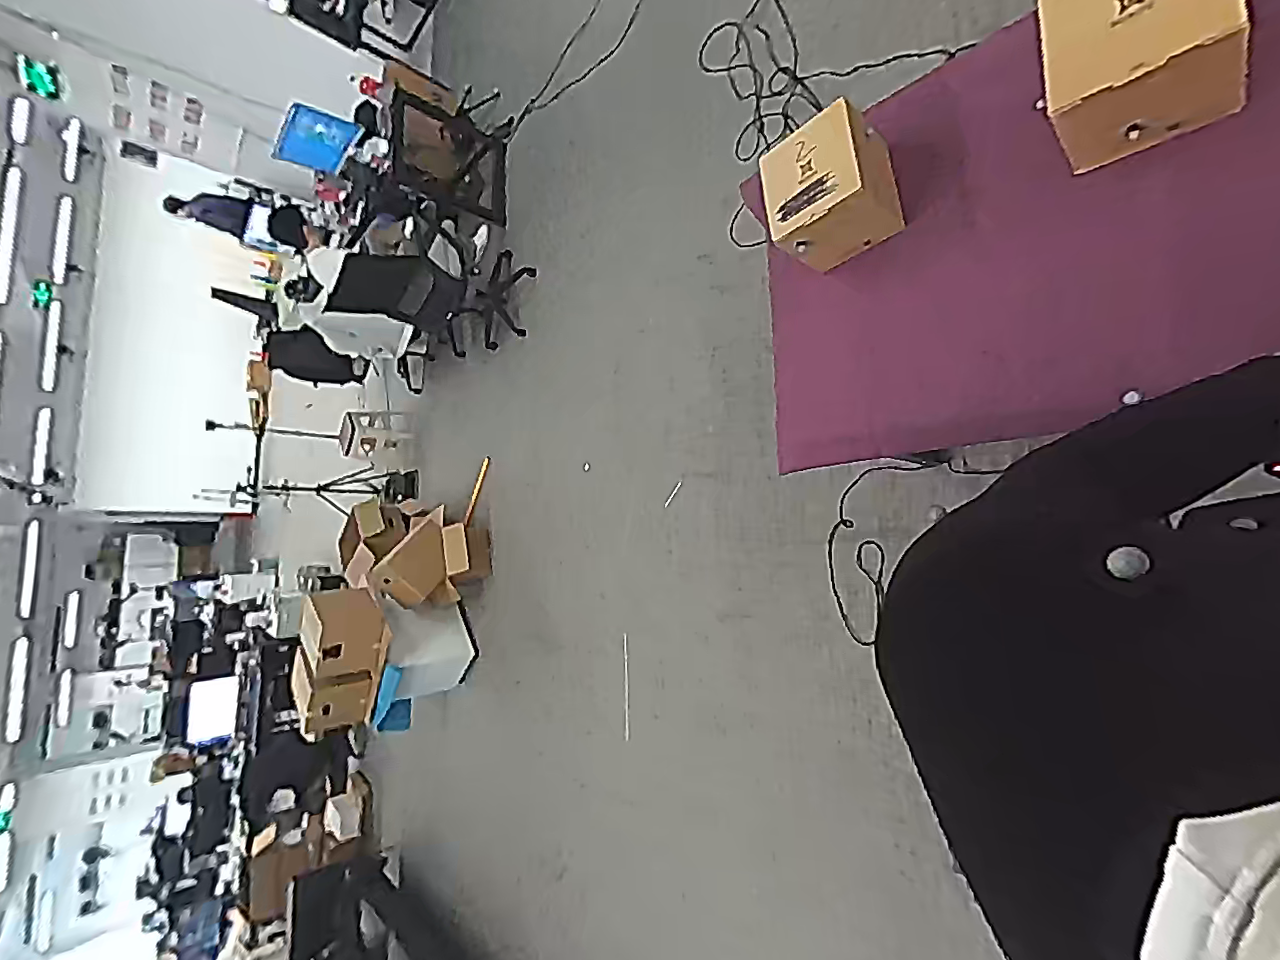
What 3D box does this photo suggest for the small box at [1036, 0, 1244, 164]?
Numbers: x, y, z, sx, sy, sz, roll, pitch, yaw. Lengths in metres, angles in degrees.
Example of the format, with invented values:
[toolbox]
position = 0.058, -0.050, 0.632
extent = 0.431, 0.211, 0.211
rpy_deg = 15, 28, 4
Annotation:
[small box]
position = 0.611, -0.541, 0.670
extent = 0.168, 0.176, 0.179
rpy_deg = -8, 83, 46
